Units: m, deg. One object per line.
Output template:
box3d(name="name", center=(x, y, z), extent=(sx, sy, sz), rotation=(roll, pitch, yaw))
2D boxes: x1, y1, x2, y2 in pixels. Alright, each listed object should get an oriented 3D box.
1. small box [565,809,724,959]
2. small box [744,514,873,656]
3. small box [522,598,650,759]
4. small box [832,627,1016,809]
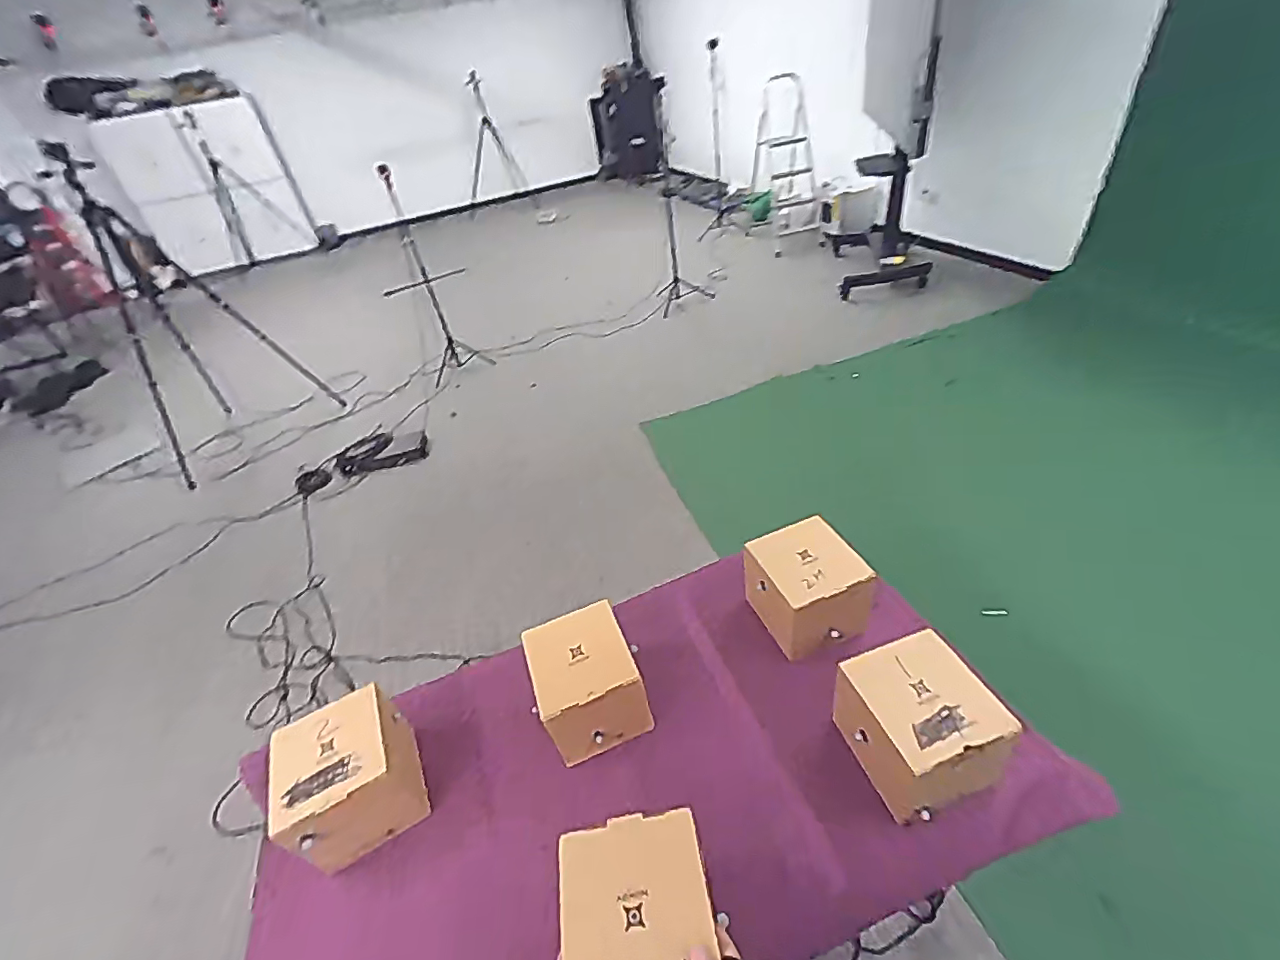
box3d(name="small box", center=(0.009, 0.529, 0.640), extent=(0.168, 0.176, 0.179), rotation=(-11, 38, -1))
box3d(name="small box", center=(0.313, 0.200, 1.037), extent=(0.168, 0.176, 0.179), rotation=(-20, 41, -10))
box3d(name="small box", center=(-0.094, 0.349, 0.953), extent=(0.168, 0.176, 0.179), rotation=(-20, 41, -12))
box3d(name="small box", center=(0.411, 0.363, 0.816), extent=(0.168, 0.176, 0.179), rotation=(-18, 38, -8))
